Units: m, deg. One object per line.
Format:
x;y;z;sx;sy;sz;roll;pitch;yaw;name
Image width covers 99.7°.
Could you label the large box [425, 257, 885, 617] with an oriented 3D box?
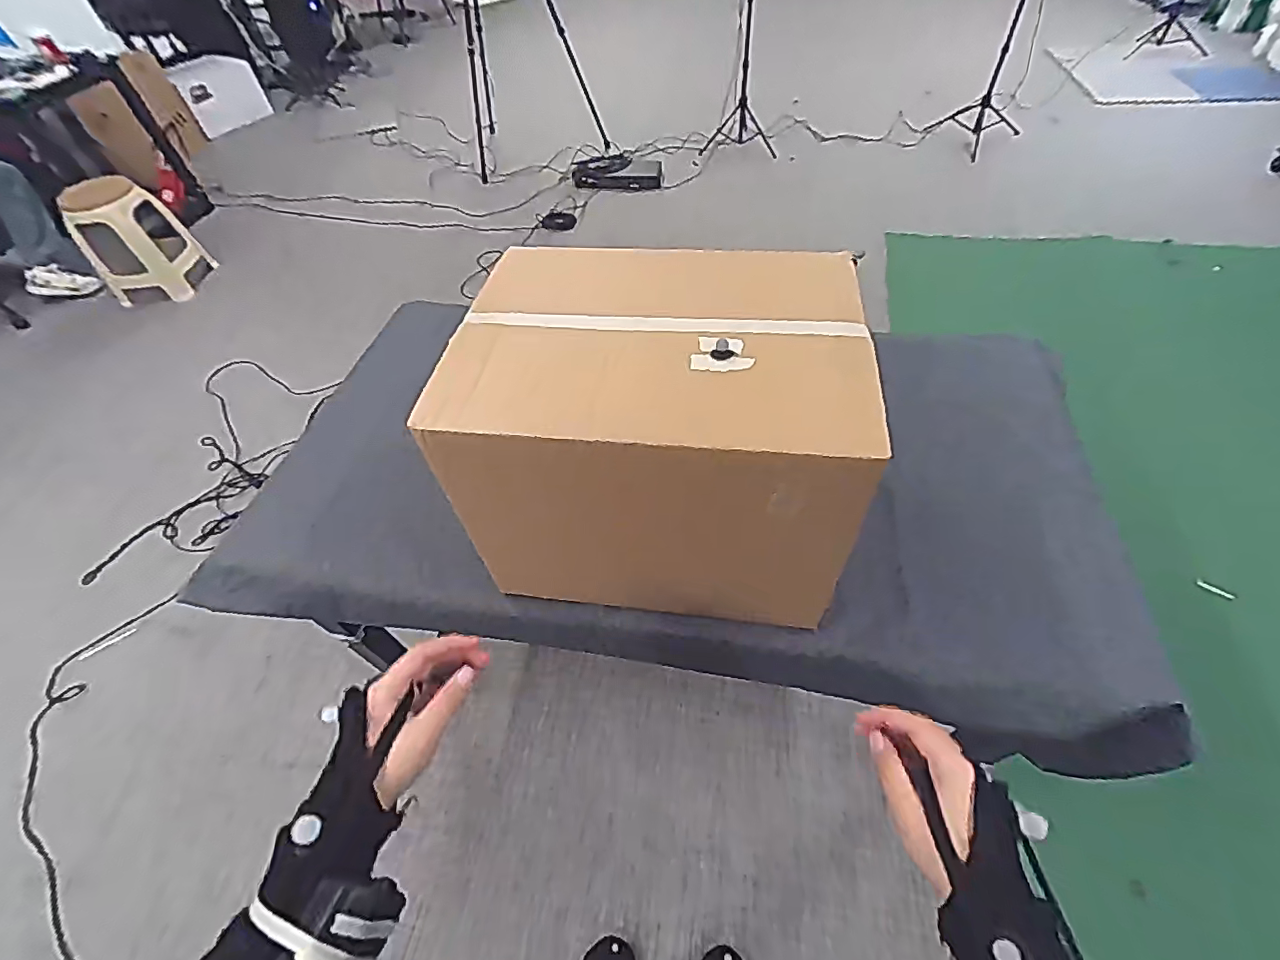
0.027;-0.052;0.665;0.408;0.320;0.320;5;51;7;large box
